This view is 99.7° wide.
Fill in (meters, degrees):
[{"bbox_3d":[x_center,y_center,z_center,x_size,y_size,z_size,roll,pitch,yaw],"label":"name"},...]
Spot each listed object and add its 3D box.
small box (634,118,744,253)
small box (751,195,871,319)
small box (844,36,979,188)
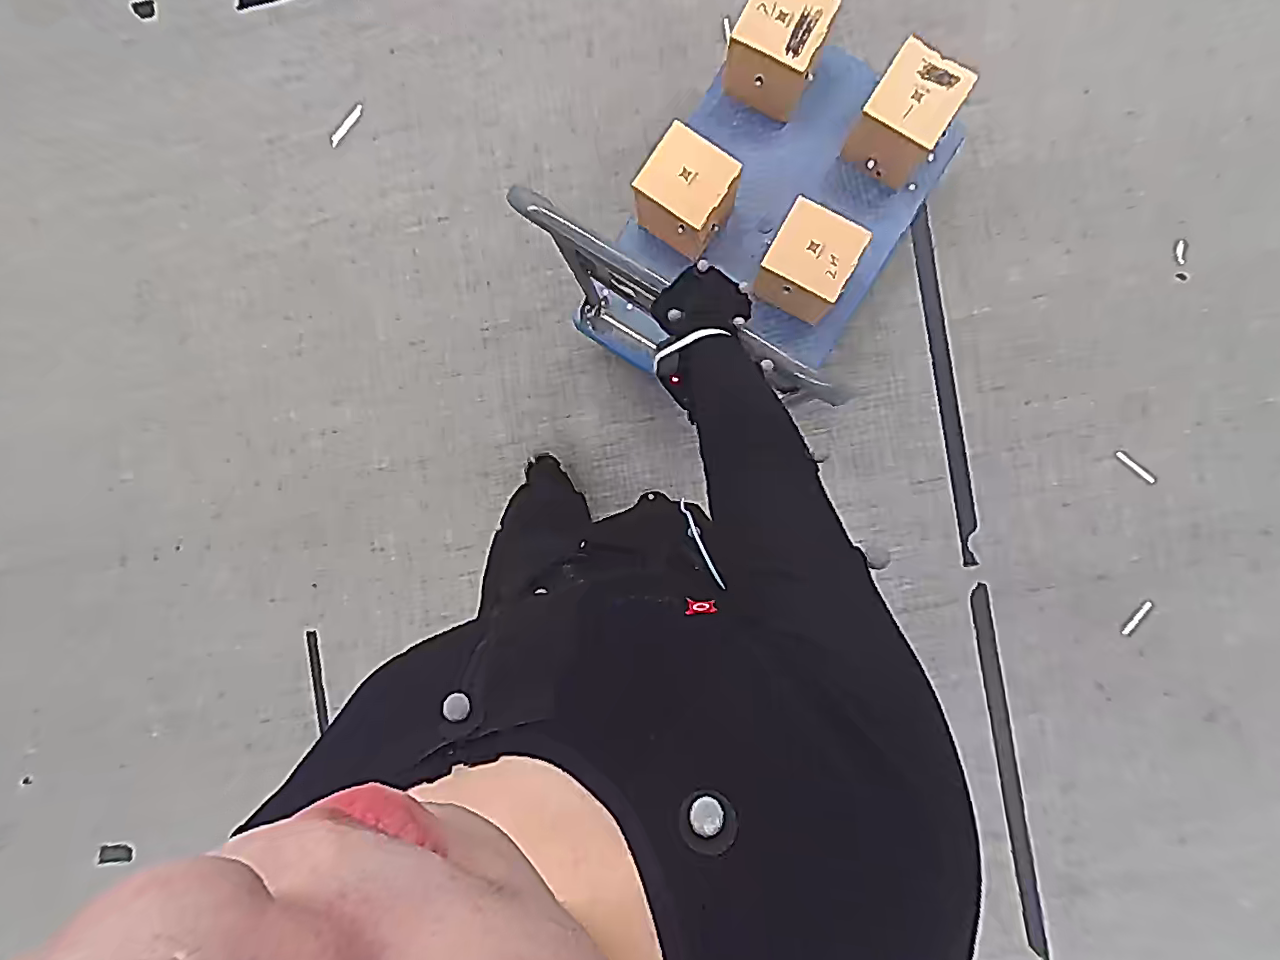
[{"bbox_3d":[0.102,-0.643,1.205,0.179,0.176,0.168,35,92,0],"label":"small box"},{"bbox_3d":[0.366,-0.479,1.194,0.179,0.176,0.168,30,93,2],"label":"small box"},{"bbox_3d":[0.576,-0.788,1.177,0.168,0.176,0.179,33,94,2],"label":"small box"}]
